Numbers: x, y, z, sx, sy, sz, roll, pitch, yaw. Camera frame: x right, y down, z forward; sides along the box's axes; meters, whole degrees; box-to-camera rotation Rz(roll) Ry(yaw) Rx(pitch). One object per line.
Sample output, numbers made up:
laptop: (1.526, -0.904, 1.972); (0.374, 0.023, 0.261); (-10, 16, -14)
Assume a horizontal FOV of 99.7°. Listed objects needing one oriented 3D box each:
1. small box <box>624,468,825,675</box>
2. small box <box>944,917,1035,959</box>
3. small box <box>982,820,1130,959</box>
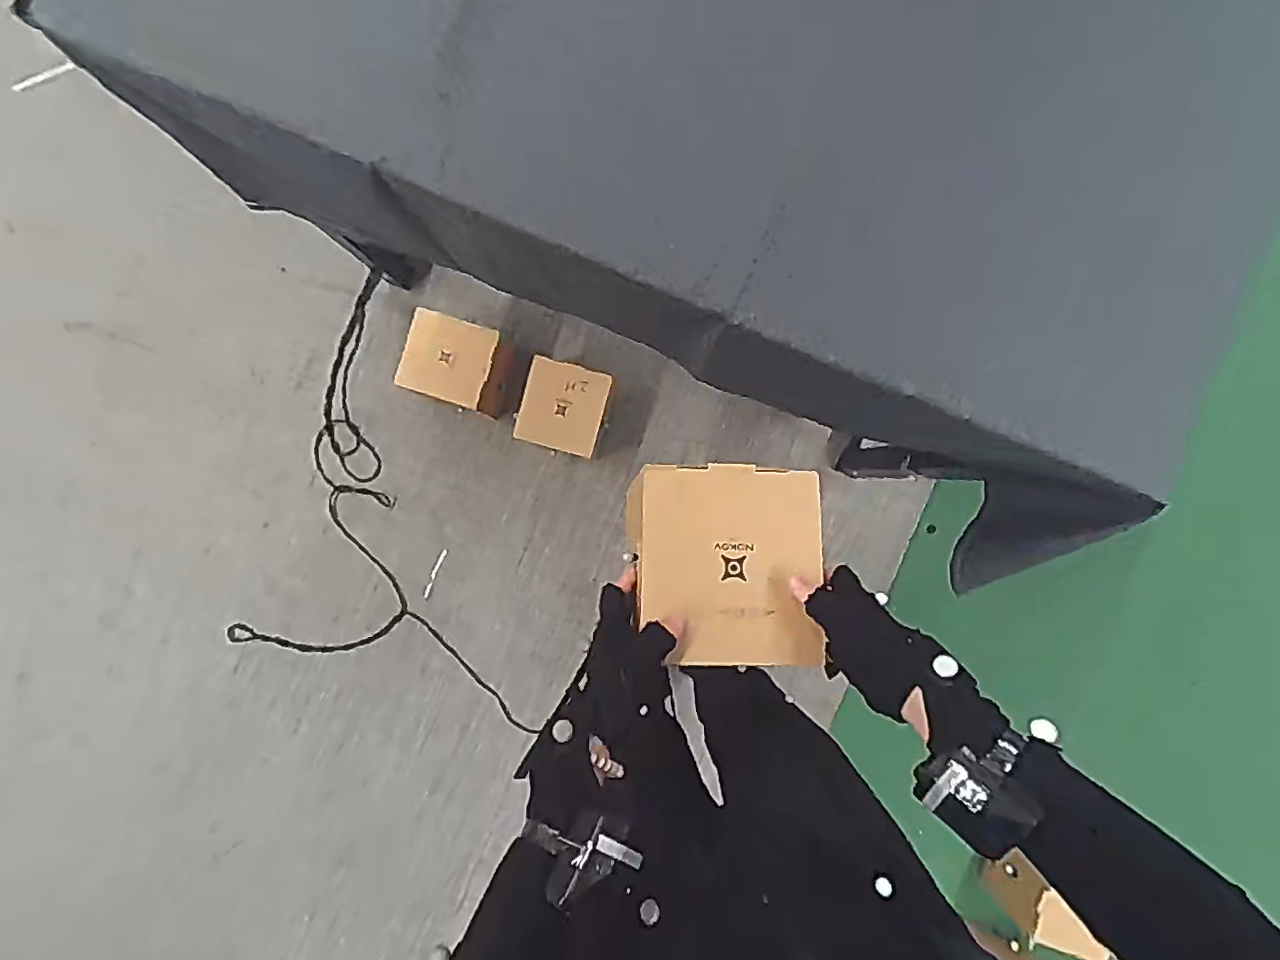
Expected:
small box: (0.073, 0.093, 0.551); (0.168, 0.176, 0.179); (3, 80, -5)
small box: (0.813, 1.153, 1.214); (0.168, 0.176, 0.179); (25, 90, -2)
small box: (0.917, 0.907, 1.211); (0.179, 0.176, 0.168); (21, 91, -1)
